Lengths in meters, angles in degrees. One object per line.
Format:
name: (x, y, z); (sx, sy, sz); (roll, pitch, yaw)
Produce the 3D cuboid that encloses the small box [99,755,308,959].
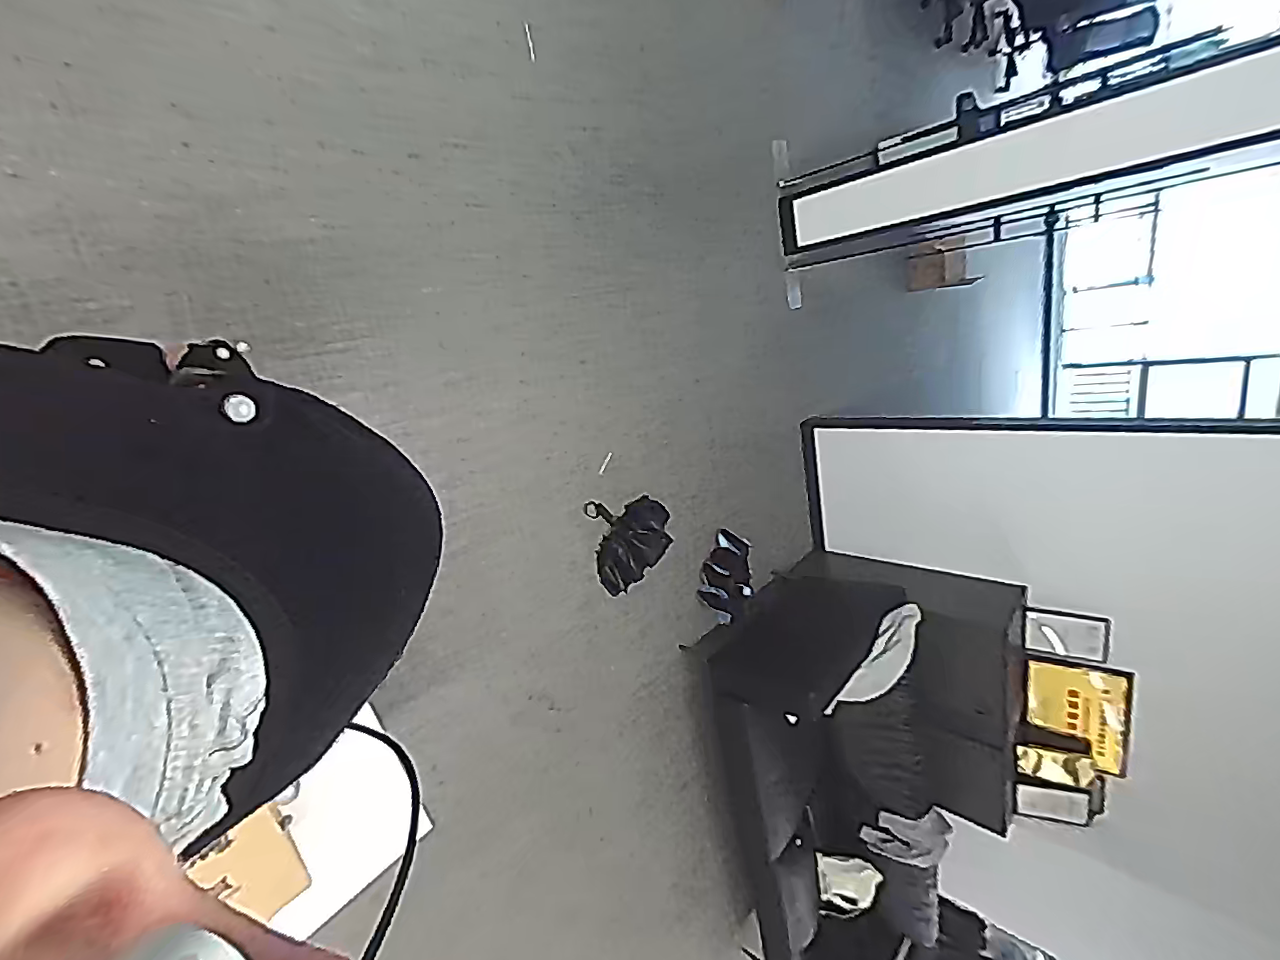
small box: (-0.605, 0.531, 0.755); (0.168, 0.176, 0.179); (-31, 117, -40)
